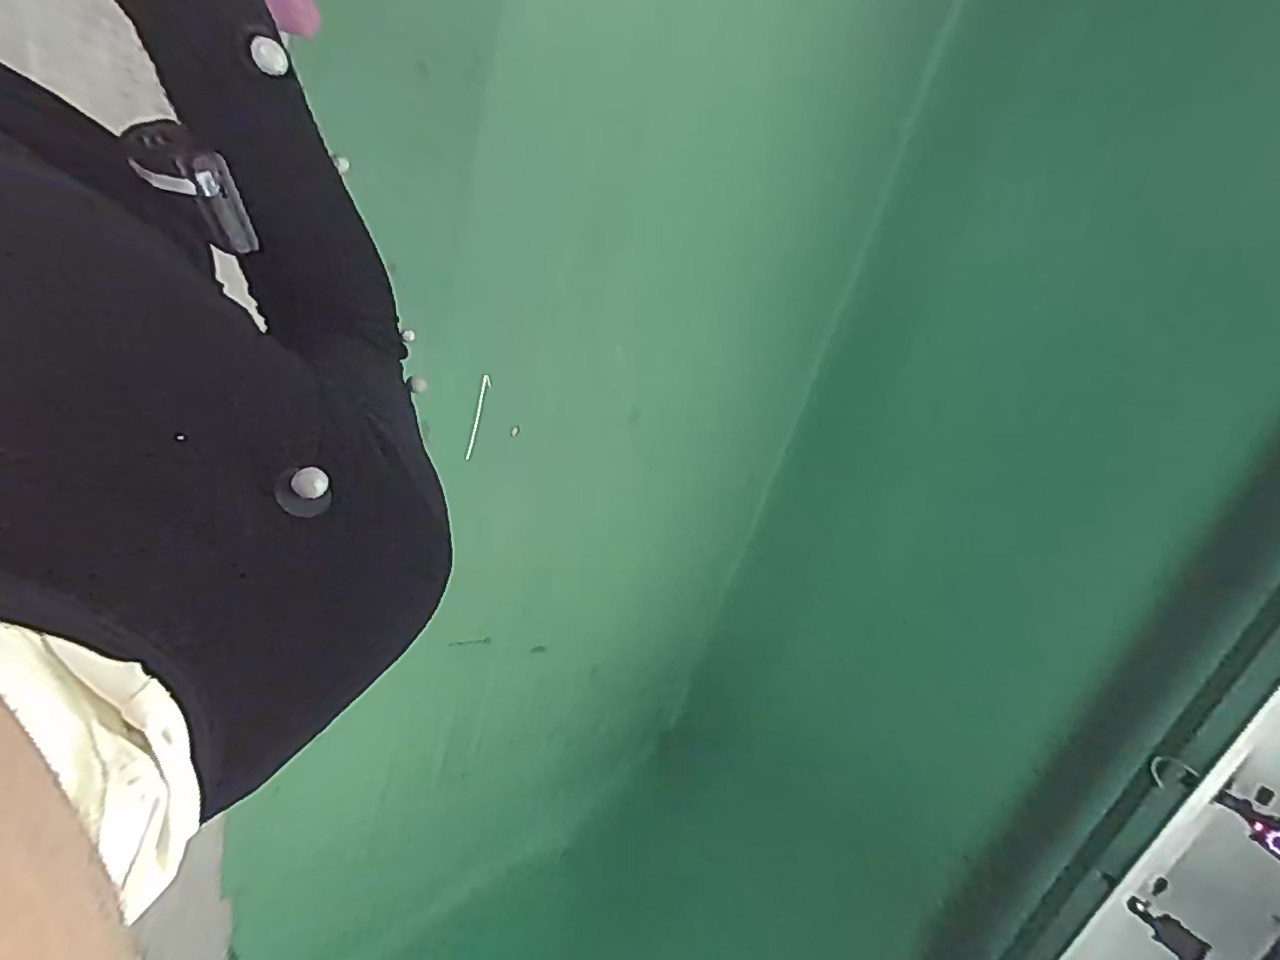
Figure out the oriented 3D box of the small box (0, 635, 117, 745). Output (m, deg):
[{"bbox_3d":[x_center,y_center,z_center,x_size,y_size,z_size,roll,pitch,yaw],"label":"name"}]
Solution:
[{"bbox_3d":[-1.413,0.496,1.286,0.168,0.176,0.179,-52,142,-11],"label":"small box"}]
